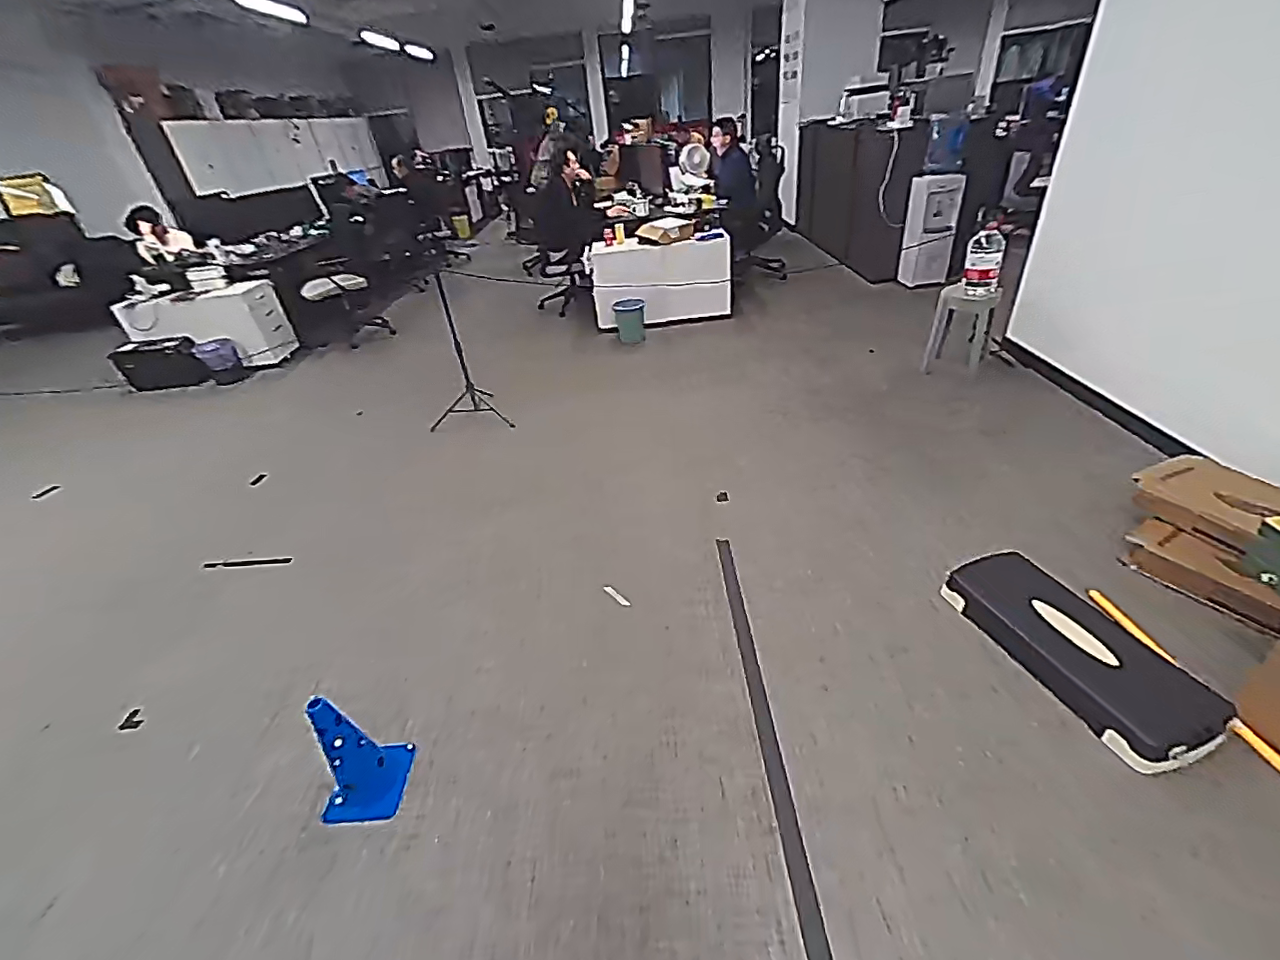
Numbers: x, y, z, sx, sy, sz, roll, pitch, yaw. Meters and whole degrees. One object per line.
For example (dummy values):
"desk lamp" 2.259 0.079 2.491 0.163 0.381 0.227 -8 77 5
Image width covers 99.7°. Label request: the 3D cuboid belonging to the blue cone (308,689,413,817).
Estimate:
"blue cone" -0.742 0.668 1.363 0.193 0.380 0.192 -5 33 3
